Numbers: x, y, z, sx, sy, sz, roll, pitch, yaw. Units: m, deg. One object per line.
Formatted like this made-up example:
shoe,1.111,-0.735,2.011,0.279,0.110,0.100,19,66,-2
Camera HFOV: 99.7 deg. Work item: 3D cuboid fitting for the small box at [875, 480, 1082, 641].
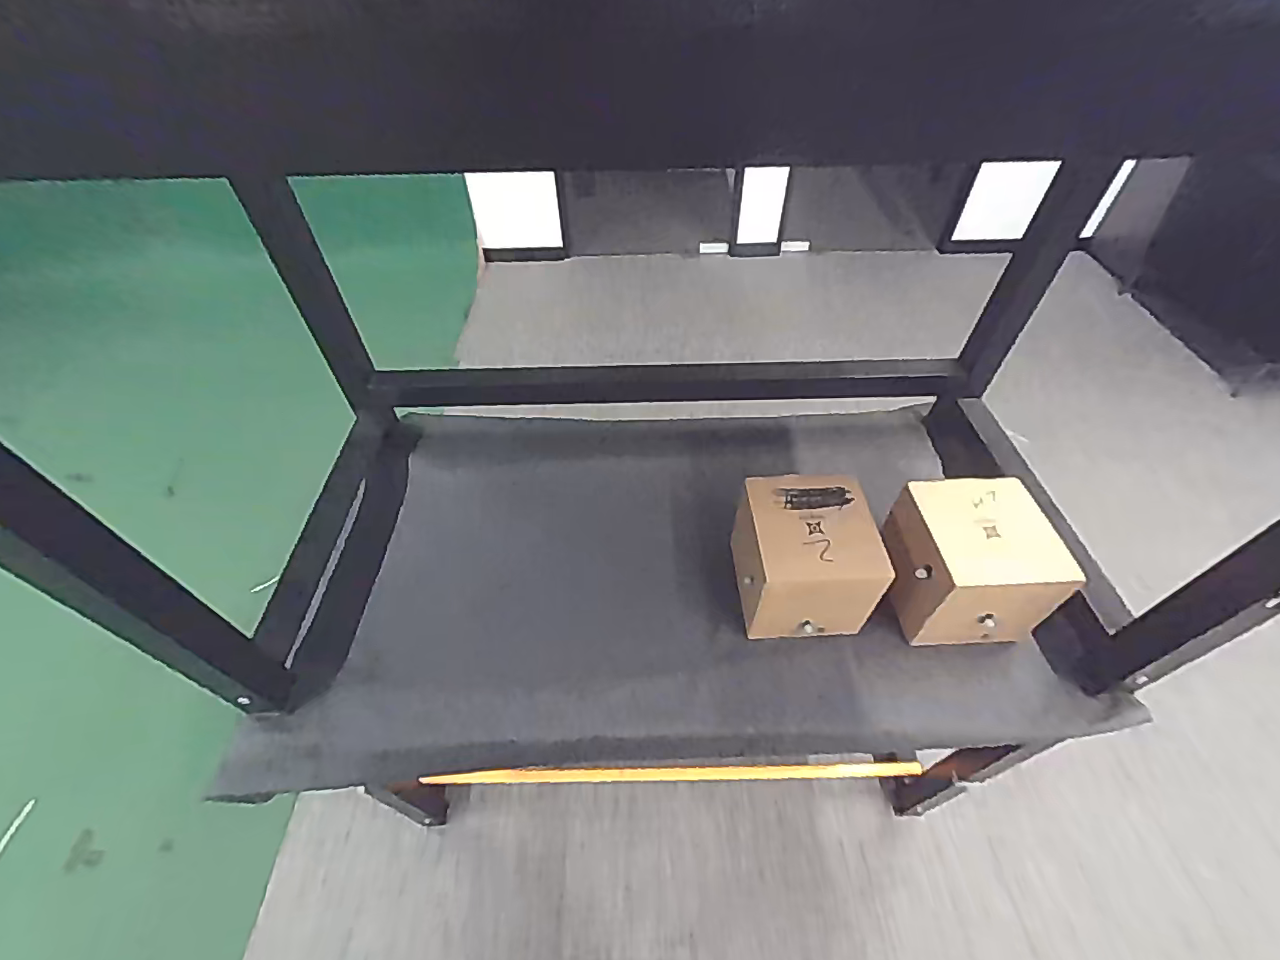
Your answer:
small box,0.468,0.122,0.784,0.168,0.176,0.179,-2,48,-1
